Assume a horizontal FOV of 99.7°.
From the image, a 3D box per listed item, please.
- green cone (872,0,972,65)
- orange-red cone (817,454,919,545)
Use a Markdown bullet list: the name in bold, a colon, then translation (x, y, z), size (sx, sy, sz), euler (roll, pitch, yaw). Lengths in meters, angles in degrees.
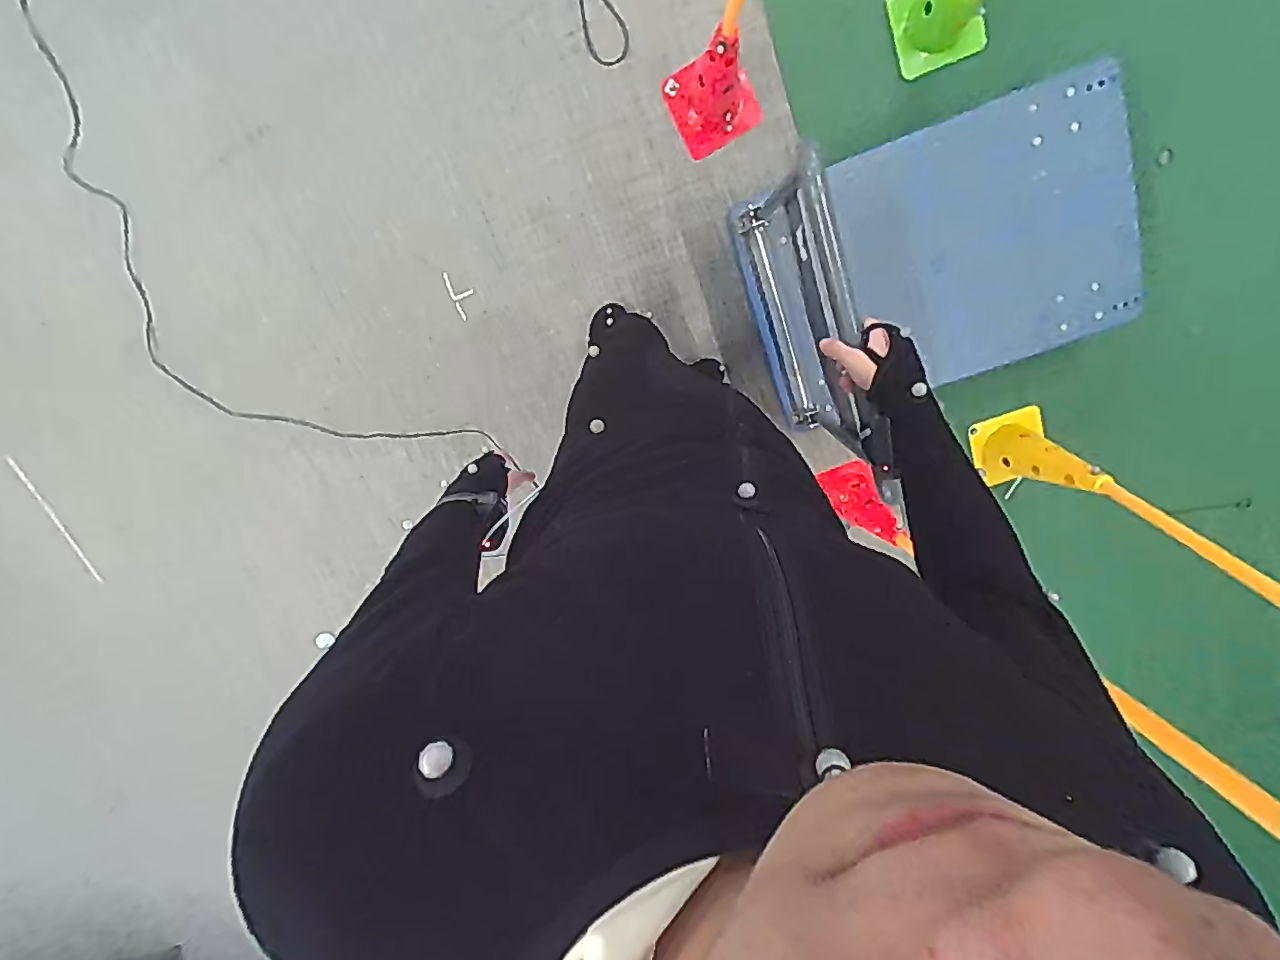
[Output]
- **green cone**: translation (0.647, -1.060, 1.090), size (0.202, 0.368, 0.200), euler (-22, 103, 7)
- **orange-red cone**: translation (0.631, 0.084, 1.420), size (0.199, 0.360, 0.198), euler (-22, 105, 6)
